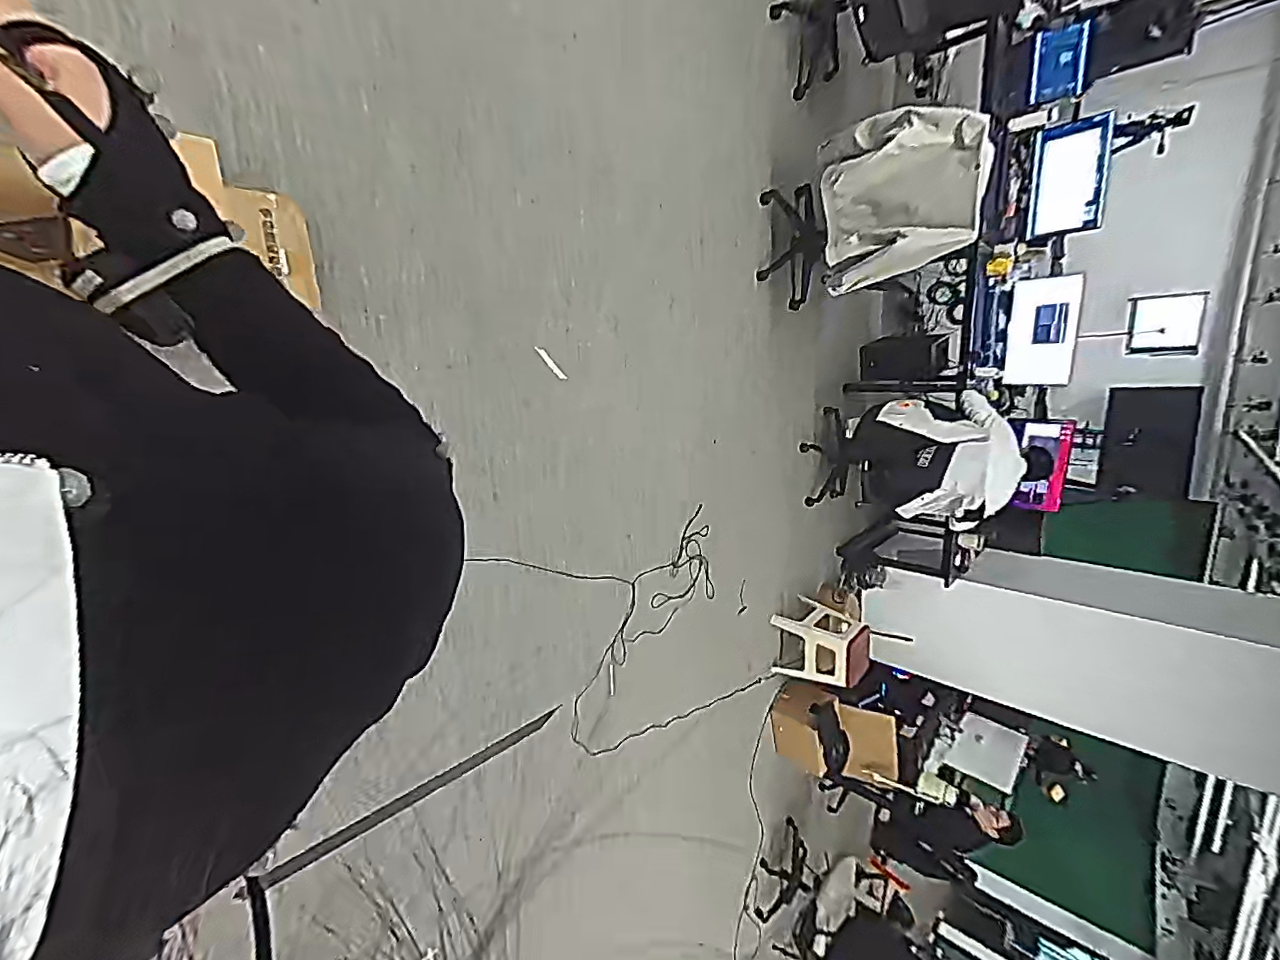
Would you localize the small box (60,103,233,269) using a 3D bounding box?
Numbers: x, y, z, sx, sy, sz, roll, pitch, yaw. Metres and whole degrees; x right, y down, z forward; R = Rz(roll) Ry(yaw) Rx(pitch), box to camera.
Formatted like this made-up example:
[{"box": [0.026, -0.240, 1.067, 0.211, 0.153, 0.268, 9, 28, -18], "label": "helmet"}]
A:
[{"box": [-0.773, -0.442, 0.848, 0.168, 0.176, 0.179, -15, 107, -45], "label": "small box"}]

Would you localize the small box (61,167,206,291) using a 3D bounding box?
[{"box": [-0.897, -0.445, 0.959, 0.168, 0.176, 0.179, -9, 104, -46], "label": "small box"}]
